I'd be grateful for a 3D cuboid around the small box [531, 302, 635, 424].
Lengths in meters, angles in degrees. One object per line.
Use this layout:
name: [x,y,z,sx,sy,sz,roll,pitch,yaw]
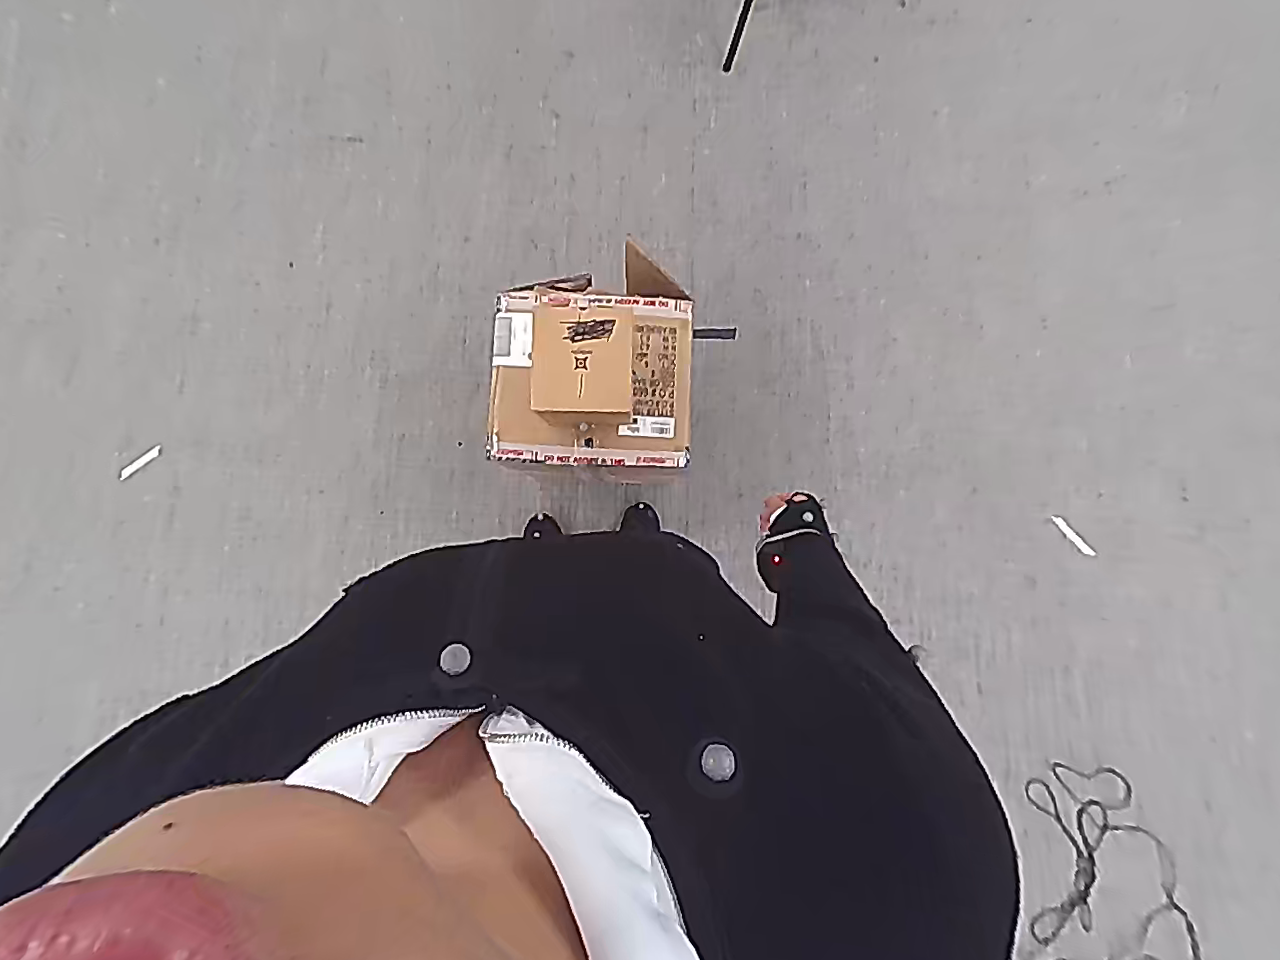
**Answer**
small box: [-0.094,-0.199,0.957,0.168,0.176,0.179,1,89,0]
